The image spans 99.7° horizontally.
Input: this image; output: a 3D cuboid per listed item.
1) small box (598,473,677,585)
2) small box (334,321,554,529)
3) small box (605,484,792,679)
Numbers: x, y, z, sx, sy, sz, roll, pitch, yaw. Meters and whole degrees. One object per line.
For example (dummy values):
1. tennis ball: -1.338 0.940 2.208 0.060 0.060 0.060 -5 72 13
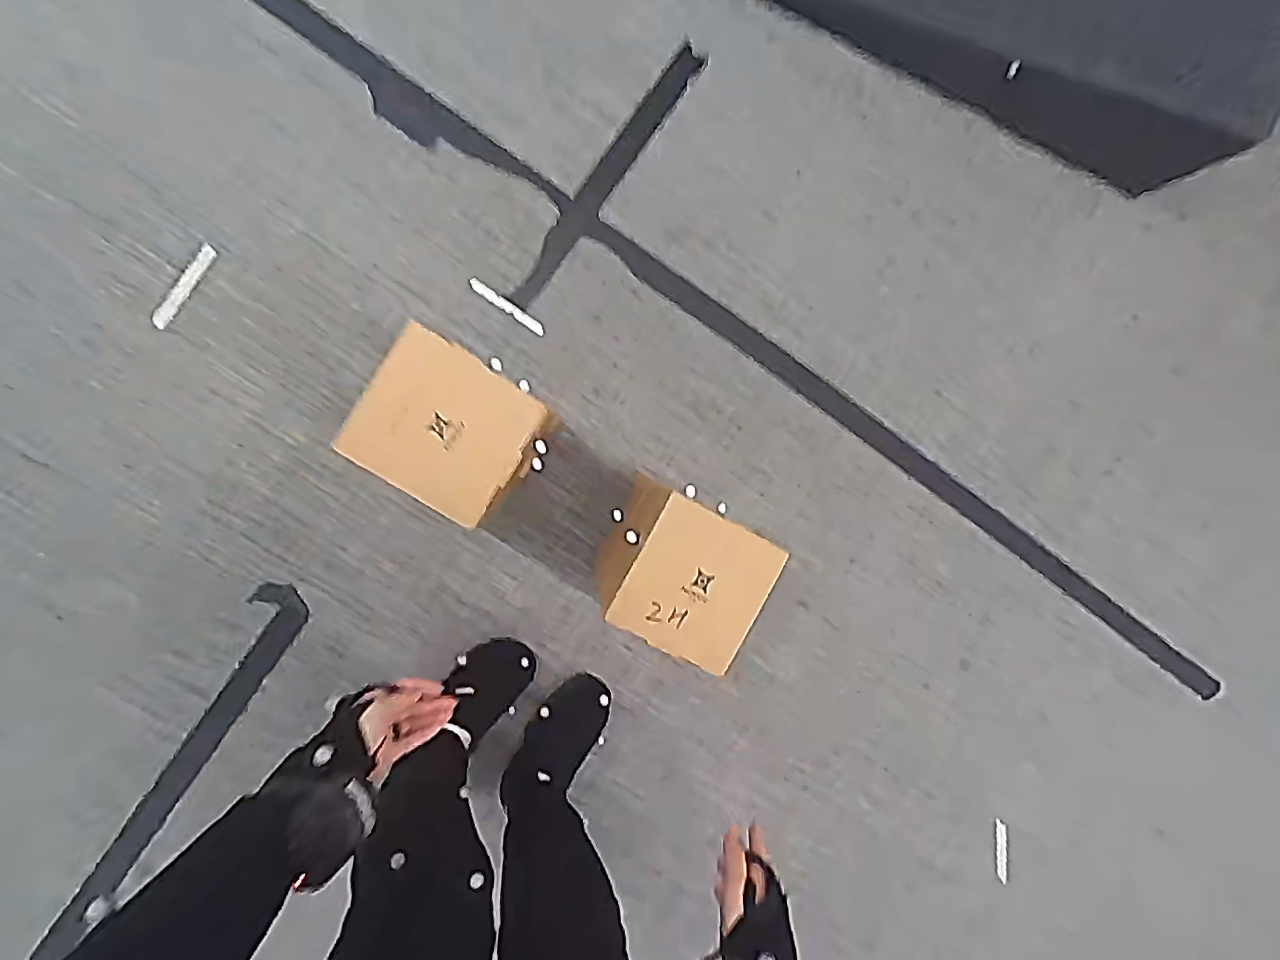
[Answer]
1. small box: 0.042 0.103 0.873 0.168 0.176 0.179 28 91 -8
2. small box: -0.219 -0.065 0.663 0.179 0.176 0.168 33 90 -7
3. small box: 0.062 0.118 0.710 0.168 0.176 0.179 29 91 -8
